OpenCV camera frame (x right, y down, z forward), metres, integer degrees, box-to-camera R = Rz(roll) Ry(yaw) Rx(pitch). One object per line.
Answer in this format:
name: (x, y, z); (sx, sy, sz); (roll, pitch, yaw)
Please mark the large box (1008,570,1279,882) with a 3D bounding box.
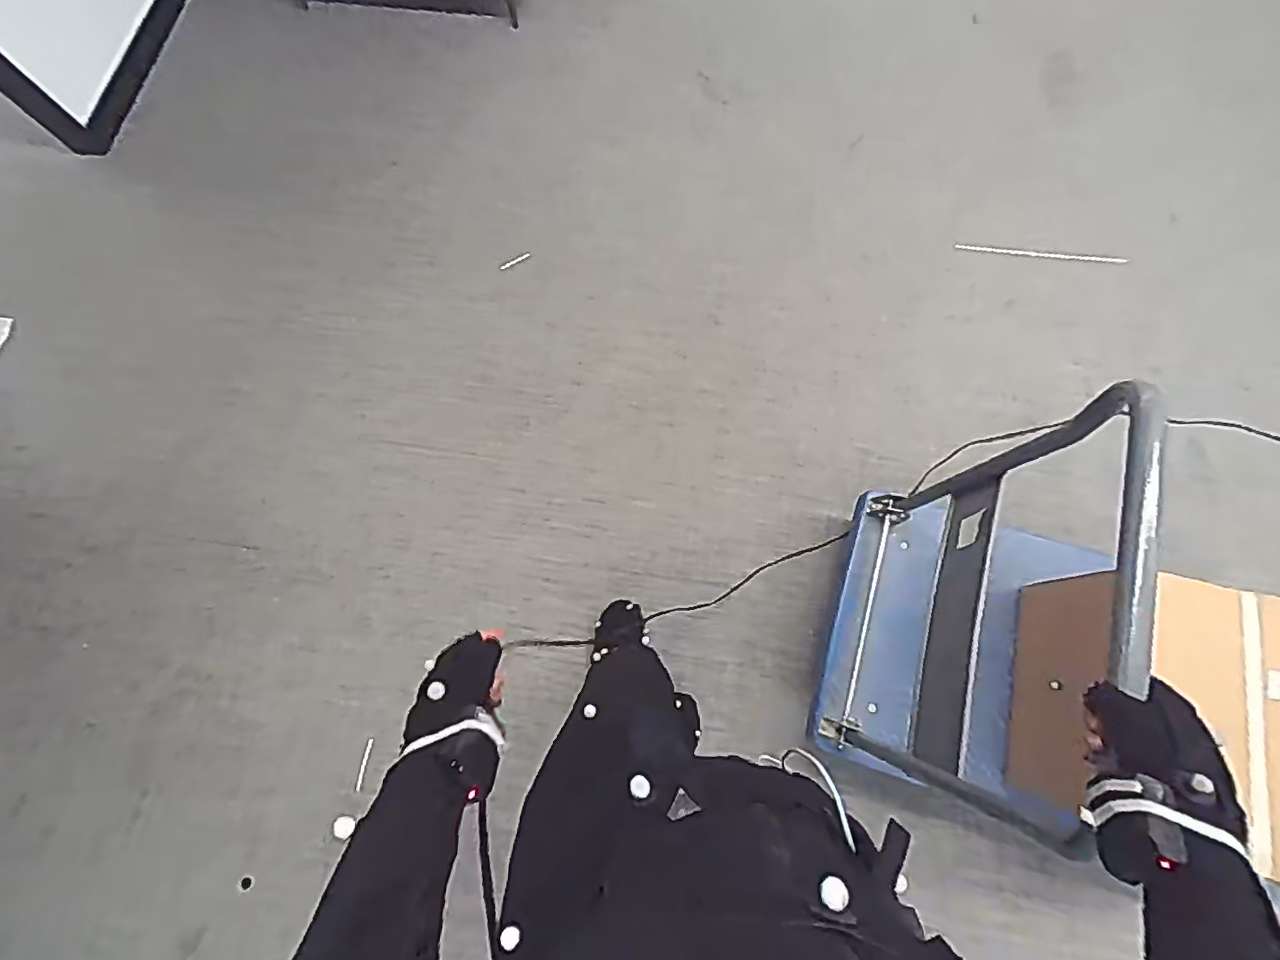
large box: (0.895, 0.408, 0.944); (0.320, 0.320, 0.408); (13, 73, 6)
